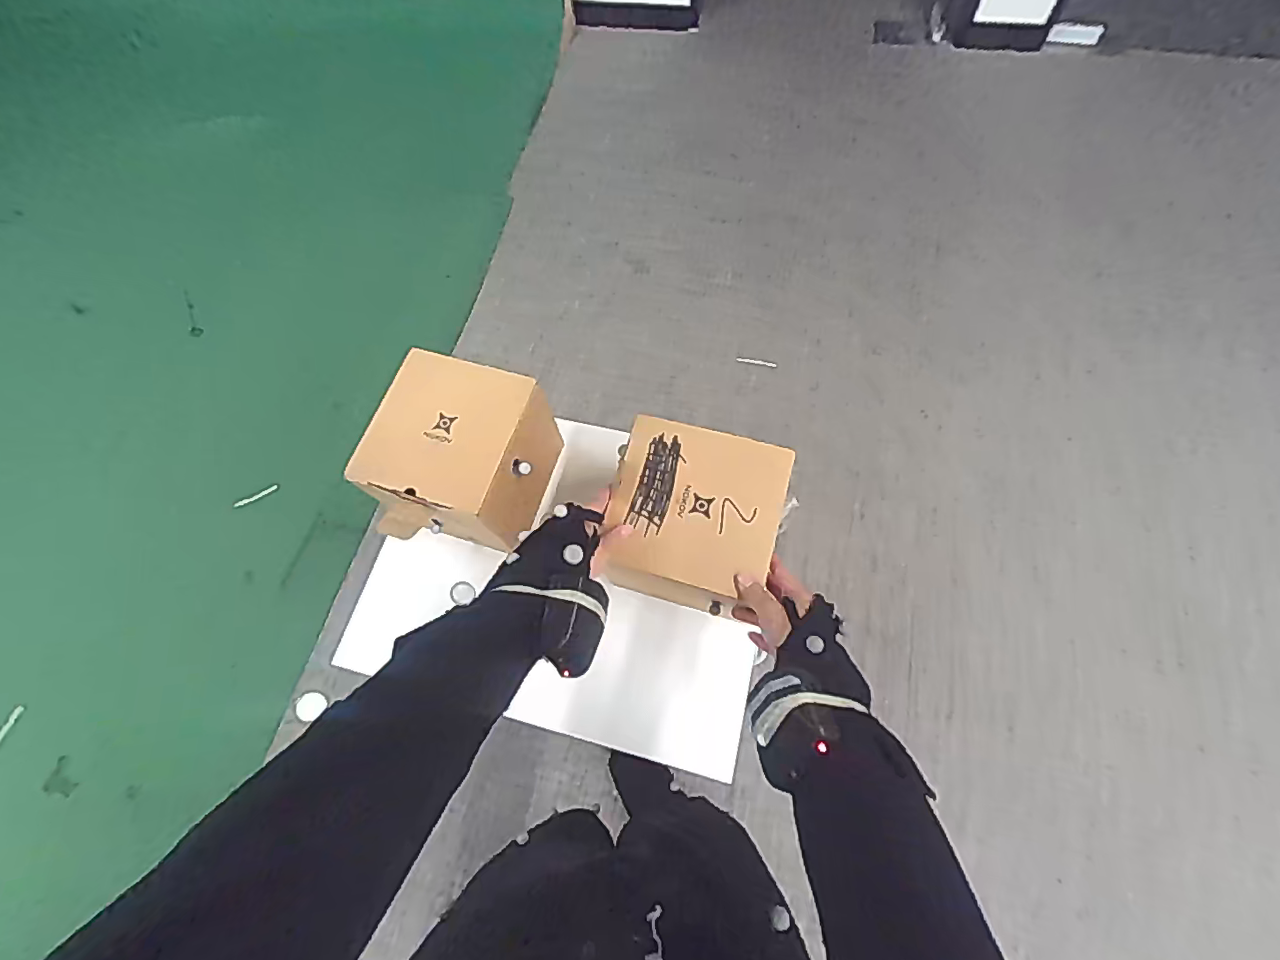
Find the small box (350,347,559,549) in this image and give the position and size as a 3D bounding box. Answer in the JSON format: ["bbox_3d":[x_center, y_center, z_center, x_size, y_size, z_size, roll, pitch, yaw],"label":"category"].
[{"bbox_3d":[-0.211,-0.032,0.677,0.168,0.176,0.179,16,71,9],"label":"small box"}]
